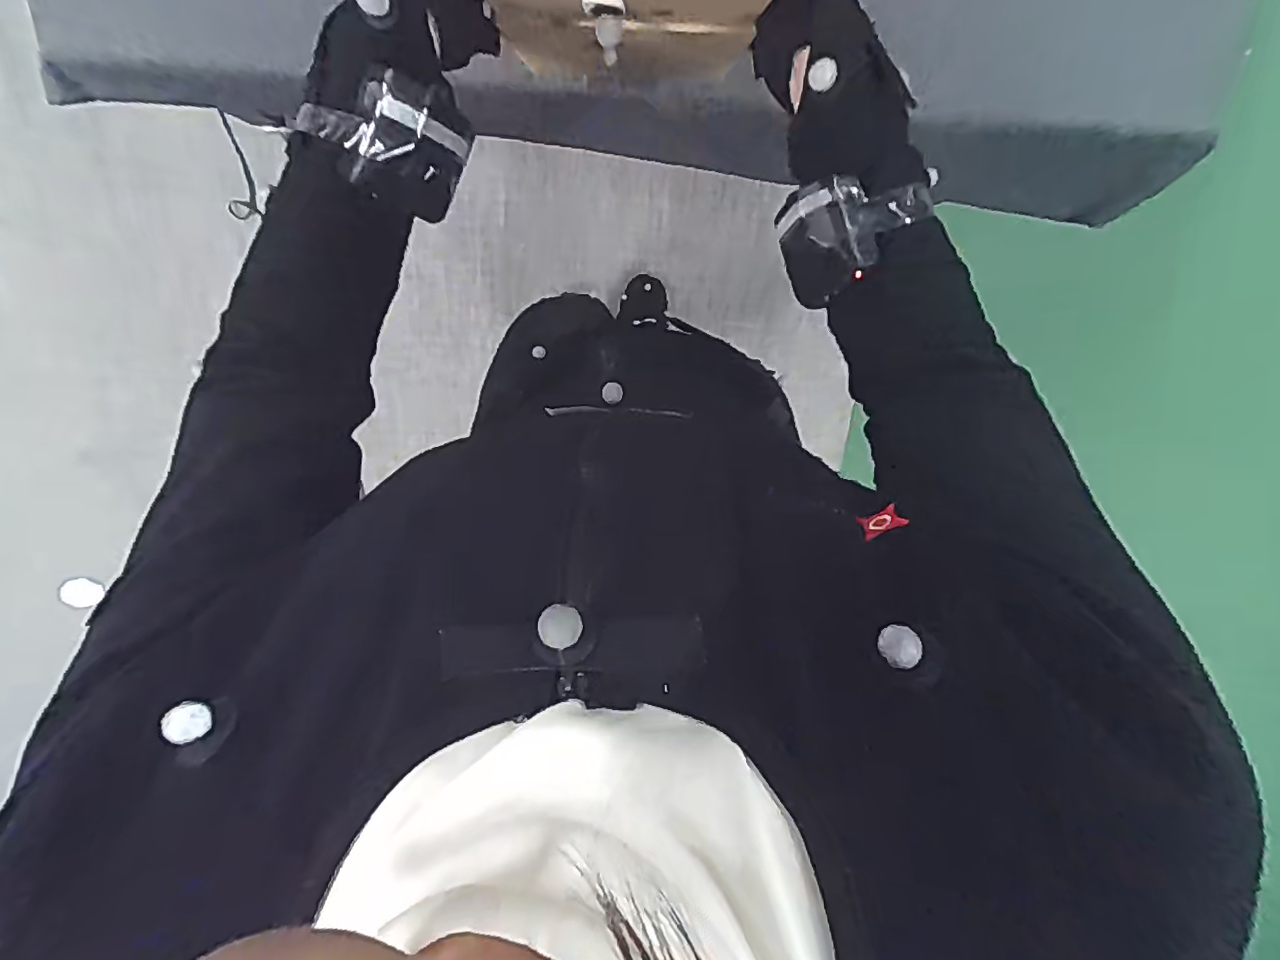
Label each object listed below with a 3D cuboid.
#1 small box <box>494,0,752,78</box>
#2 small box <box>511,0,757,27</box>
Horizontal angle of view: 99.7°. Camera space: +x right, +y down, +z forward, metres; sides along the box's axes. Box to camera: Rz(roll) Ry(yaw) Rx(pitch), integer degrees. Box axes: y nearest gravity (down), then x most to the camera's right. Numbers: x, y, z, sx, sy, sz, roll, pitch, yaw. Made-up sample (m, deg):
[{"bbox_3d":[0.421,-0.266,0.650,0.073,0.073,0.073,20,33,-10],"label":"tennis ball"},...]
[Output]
[{"bbox_3d":[-0.008,-0.416,0.402,0.179,0.176,0.168,1,118,-2],"label":"small box"},{"bbox_3d":[-0.007,-0.339,0.241,0.168,0.176,0.179,1,118,0],"label":"small box"}]
